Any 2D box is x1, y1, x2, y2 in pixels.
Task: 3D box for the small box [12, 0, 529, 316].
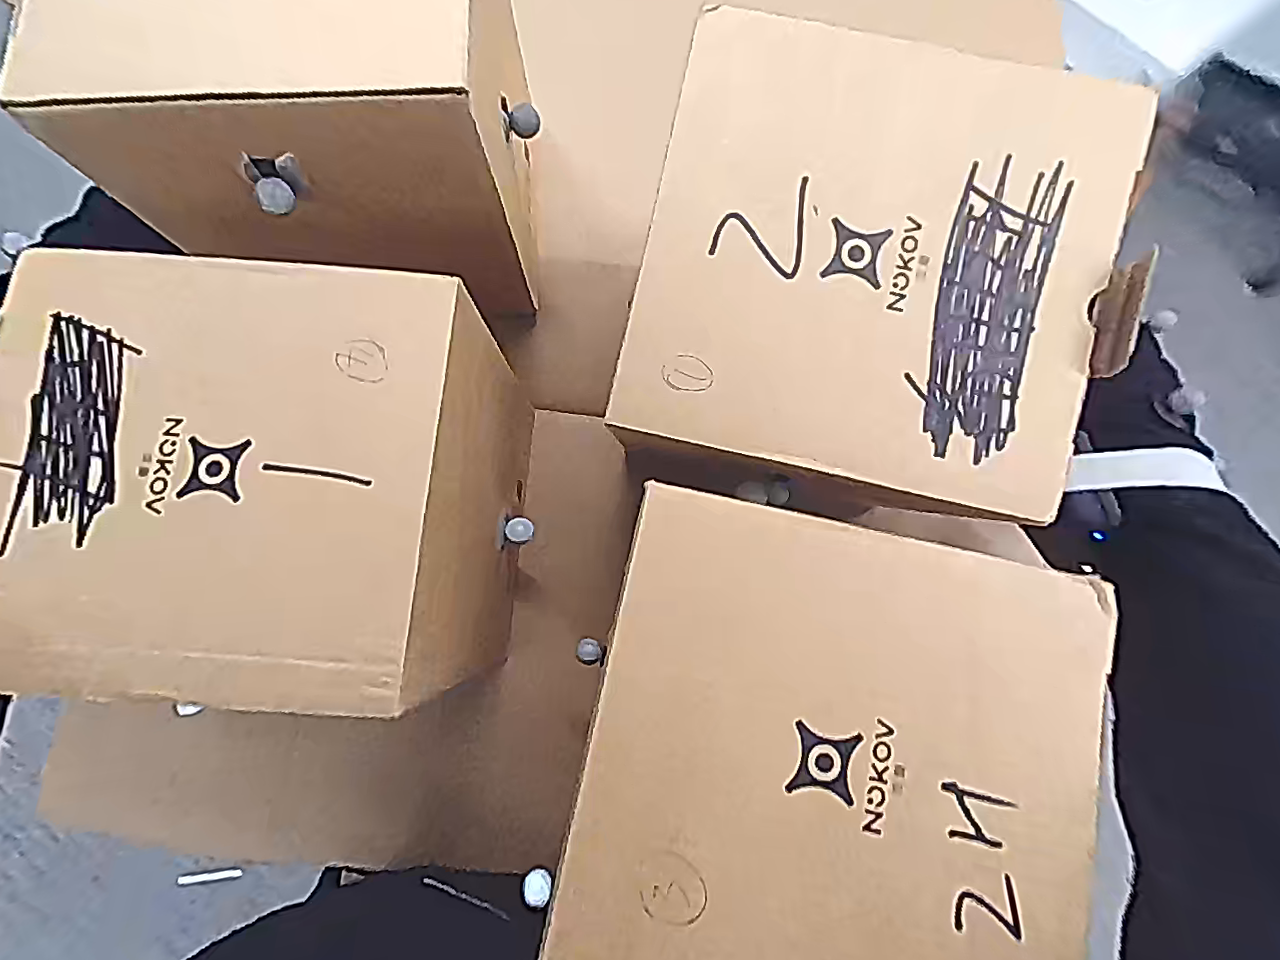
[{"bbox_3d":[-0.161,-0.208,0.303,0.179,0.176,0.168,-4,79,-1],"label":"small box"}]
